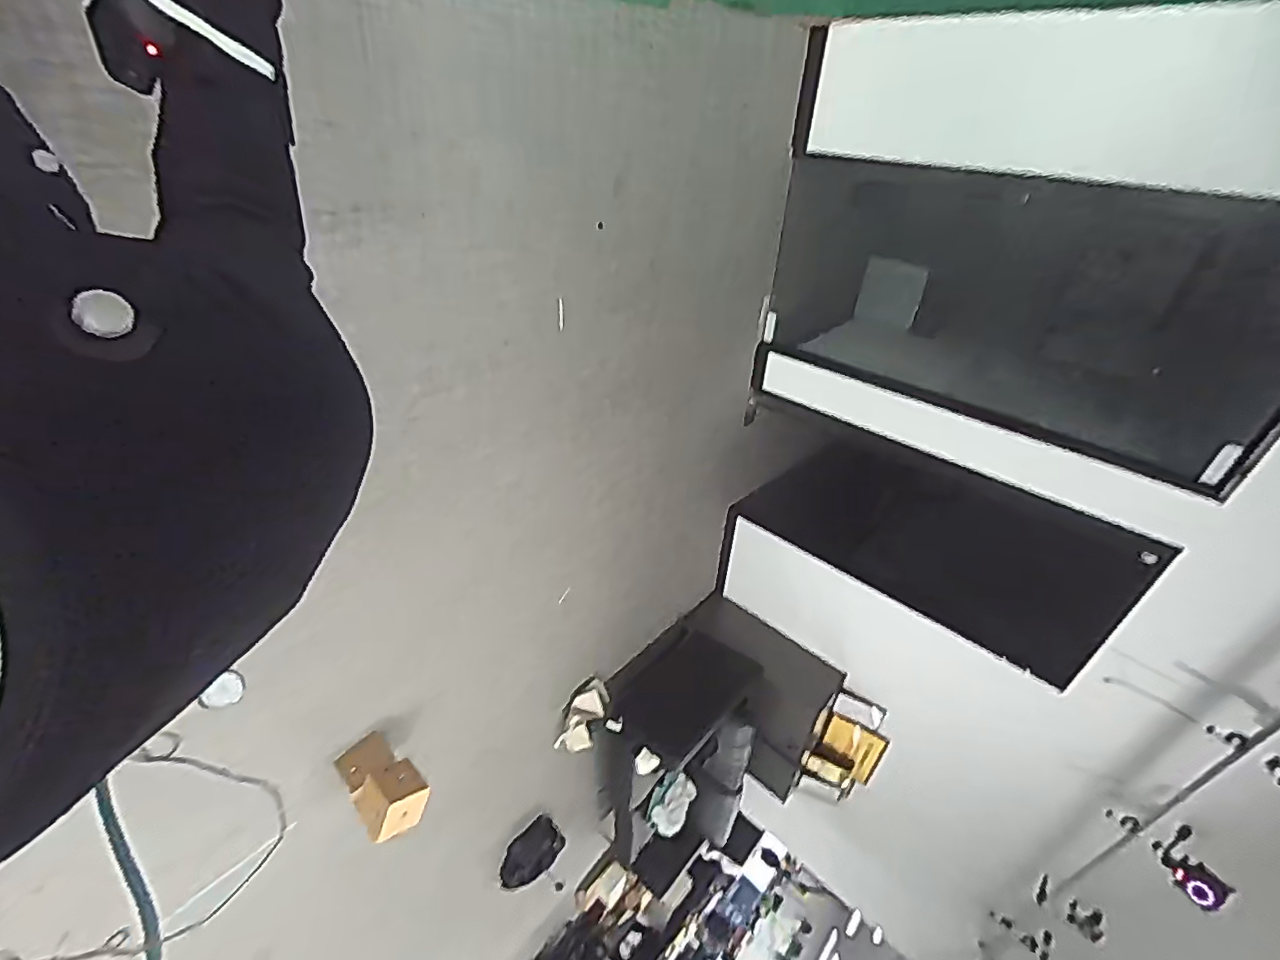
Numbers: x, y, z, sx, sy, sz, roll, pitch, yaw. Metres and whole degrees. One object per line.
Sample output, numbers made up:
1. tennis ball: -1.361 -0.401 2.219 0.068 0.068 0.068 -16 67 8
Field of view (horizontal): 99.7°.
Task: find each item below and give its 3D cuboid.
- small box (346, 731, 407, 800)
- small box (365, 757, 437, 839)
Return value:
1. small box: -1.005 1.121 2.091 0.179 0.176 0.168 -36 140 -35
2. small box: -0.891 1.166 2.006 0.168 0.176 0.179 5 111 -55
